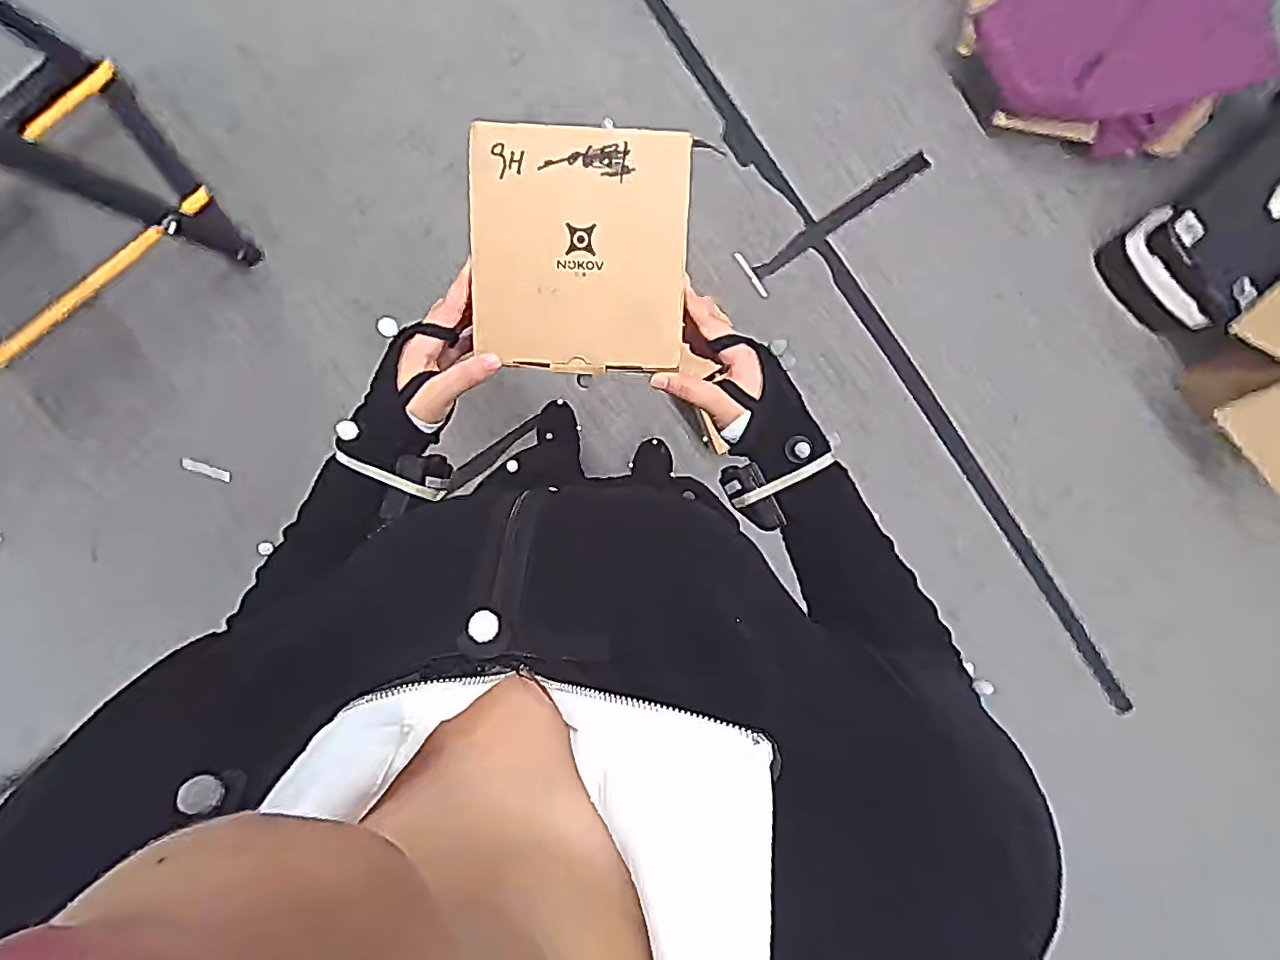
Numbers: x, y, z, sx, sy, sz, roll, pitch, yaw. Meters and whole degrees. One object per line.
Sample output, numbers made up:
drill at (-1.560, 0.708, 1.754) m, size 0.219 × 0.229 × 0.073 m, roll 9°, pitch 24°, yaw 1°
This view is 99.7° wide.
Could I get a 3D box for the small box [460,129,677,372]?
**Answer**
small box at (-0.056, -0.193, 0.500) m, size 0.168 × 0.176 × 0.179 m, roll 1°, pitch 102°, yaw -1°
